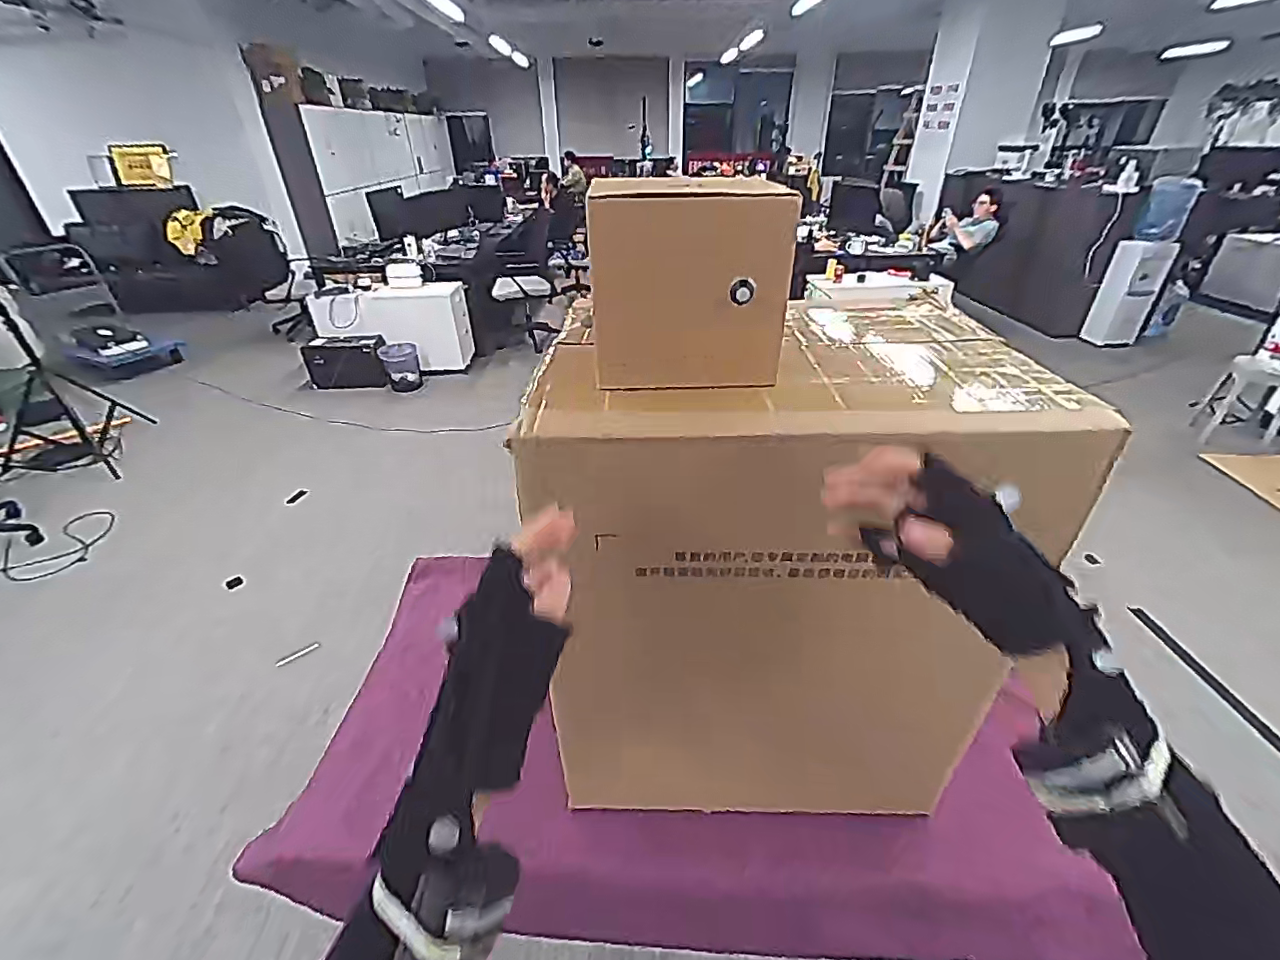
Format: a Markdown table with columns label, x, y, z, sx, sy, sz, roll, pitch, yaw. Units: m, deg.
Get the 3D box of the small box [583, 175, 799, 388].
| label | x | y | z | sx | sy | sz | roll | pitch | yaw |
| --- | --- | --- | --- | --- | --- | --- | --- | --- | --- |
| small box | 0.040 | -0.201 | 0.539 | 0.179 | 0.176 | 0.168 | -3 | 32 | -1 |
